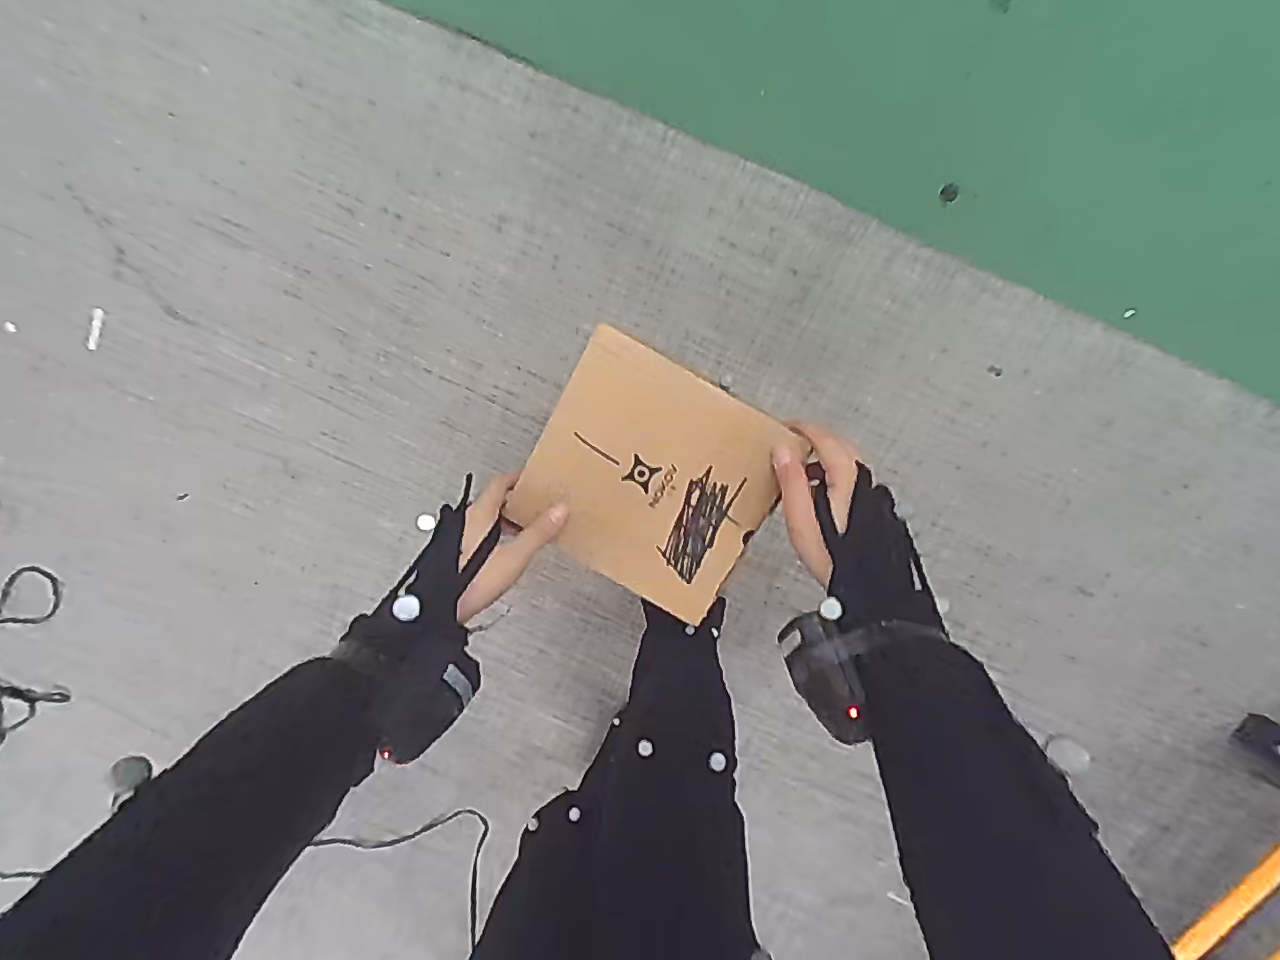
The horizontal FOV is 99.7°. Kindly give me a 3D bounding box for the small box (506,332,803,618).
[{"bbox_3d":[0.016,-0.015,0.488,0.179,0.176,0.168,31,103,1],"label":"small box"}]
